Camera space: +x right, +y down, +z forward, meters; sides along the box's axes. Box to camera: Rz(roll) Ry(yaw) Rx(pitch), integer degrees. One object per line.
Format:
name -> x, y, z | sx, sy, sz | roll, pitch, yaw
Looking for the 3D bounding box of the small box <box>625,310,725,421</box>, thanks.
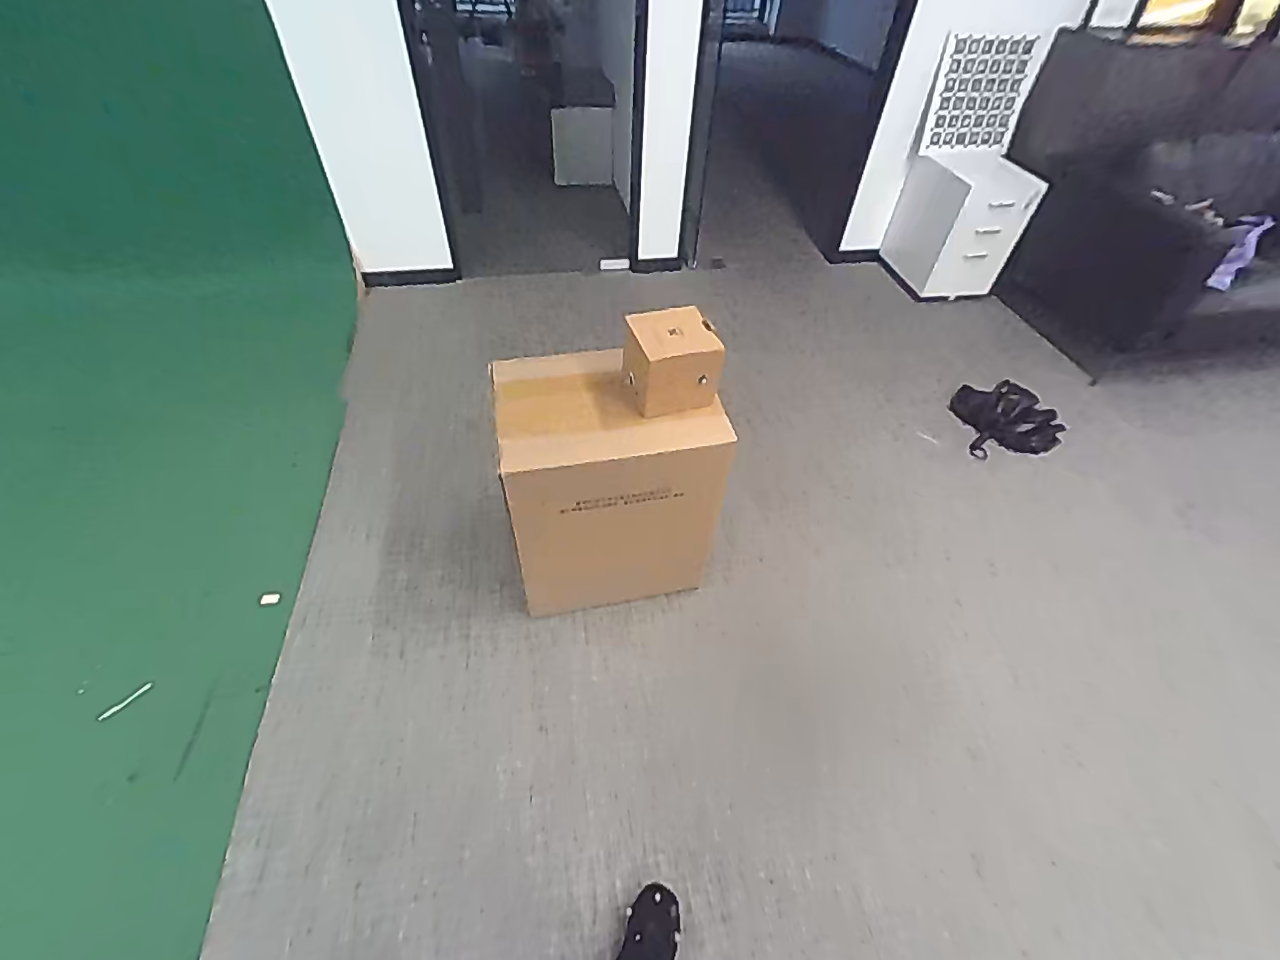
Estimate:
small box -> 0.072, -0.262, 1.245 | 0.179, 0.176, 0.168 | -15, 53, -14
